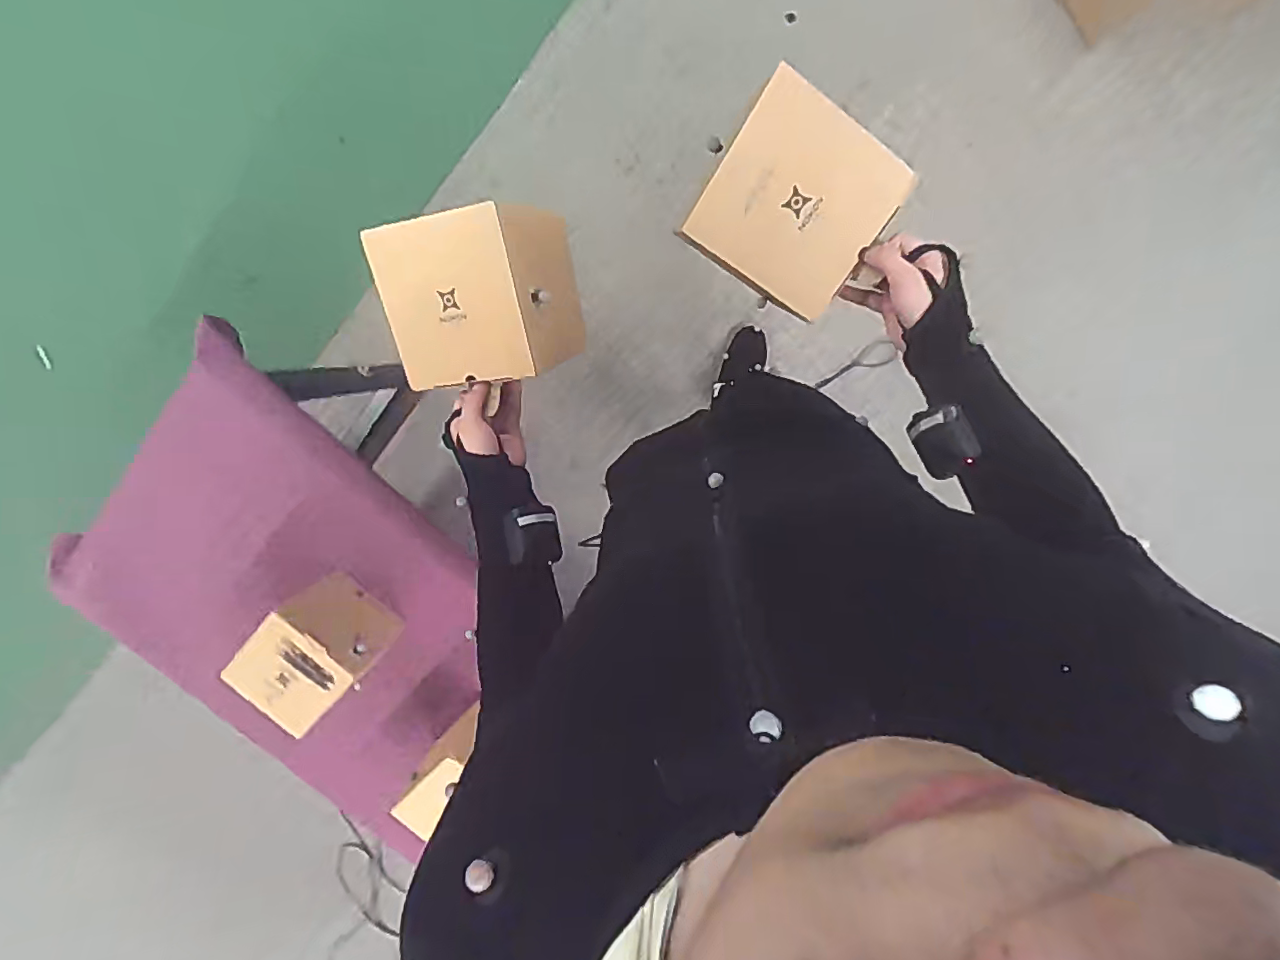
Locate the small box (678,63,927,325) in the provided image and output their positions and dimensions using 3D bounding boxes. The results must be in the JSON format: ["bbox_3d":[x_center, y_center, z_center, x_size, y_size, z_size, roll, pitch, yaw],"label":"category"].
[{"bbox_3d":[0.159,-0.299,0.594,0.179,0.176,0.168,31,110,-14],"label":"small box"}]

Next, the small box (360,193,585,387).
[{"bbox_3d":[-0.178,-0.220,0.633,0.168,0.176,0.179,-3,113,17],"label":"small box"}]

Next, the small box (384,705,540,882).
[{"bbox_3d":[-0.304,0.548,0.963,0.168,0.176,0.179,43,103,-6],"label":"small box"}]
